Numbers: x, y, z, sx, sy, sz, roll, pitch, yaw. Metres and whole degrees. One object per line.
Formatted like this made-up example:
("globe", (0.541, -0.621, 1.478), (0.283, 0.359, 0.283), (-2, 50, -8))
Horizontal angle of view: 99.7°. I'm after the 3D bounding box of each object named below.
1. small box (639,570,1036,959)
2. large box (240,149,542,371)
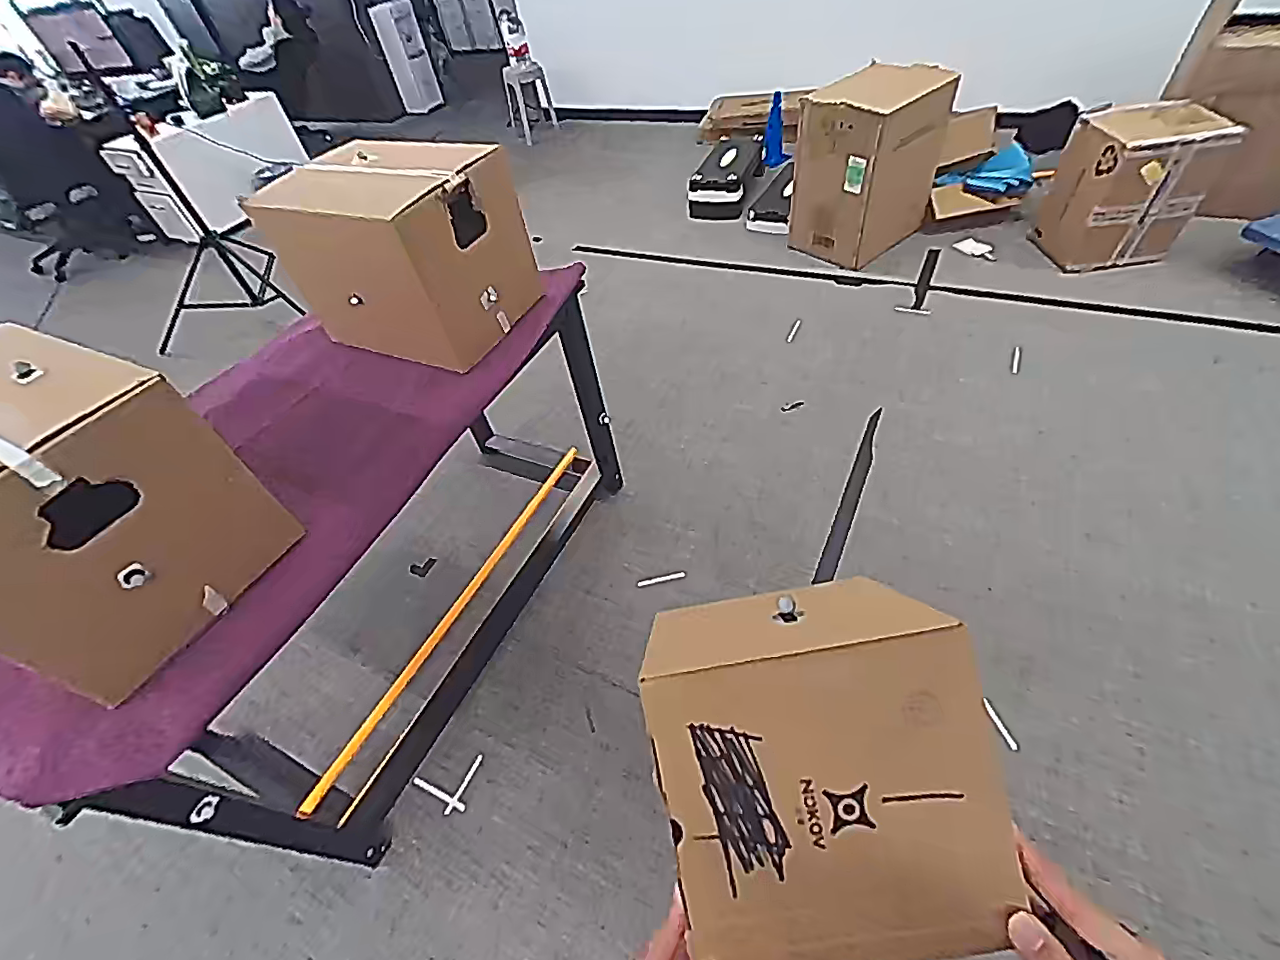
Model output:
("small box", (0.105, 0.162, 0.359), (0.179, 0.176, 0.168), (-11, 87, 4))
("large box", (-0.478, -0.461, 1.119), (0.408, 0.320, 0.320), (15, 53, 23))
